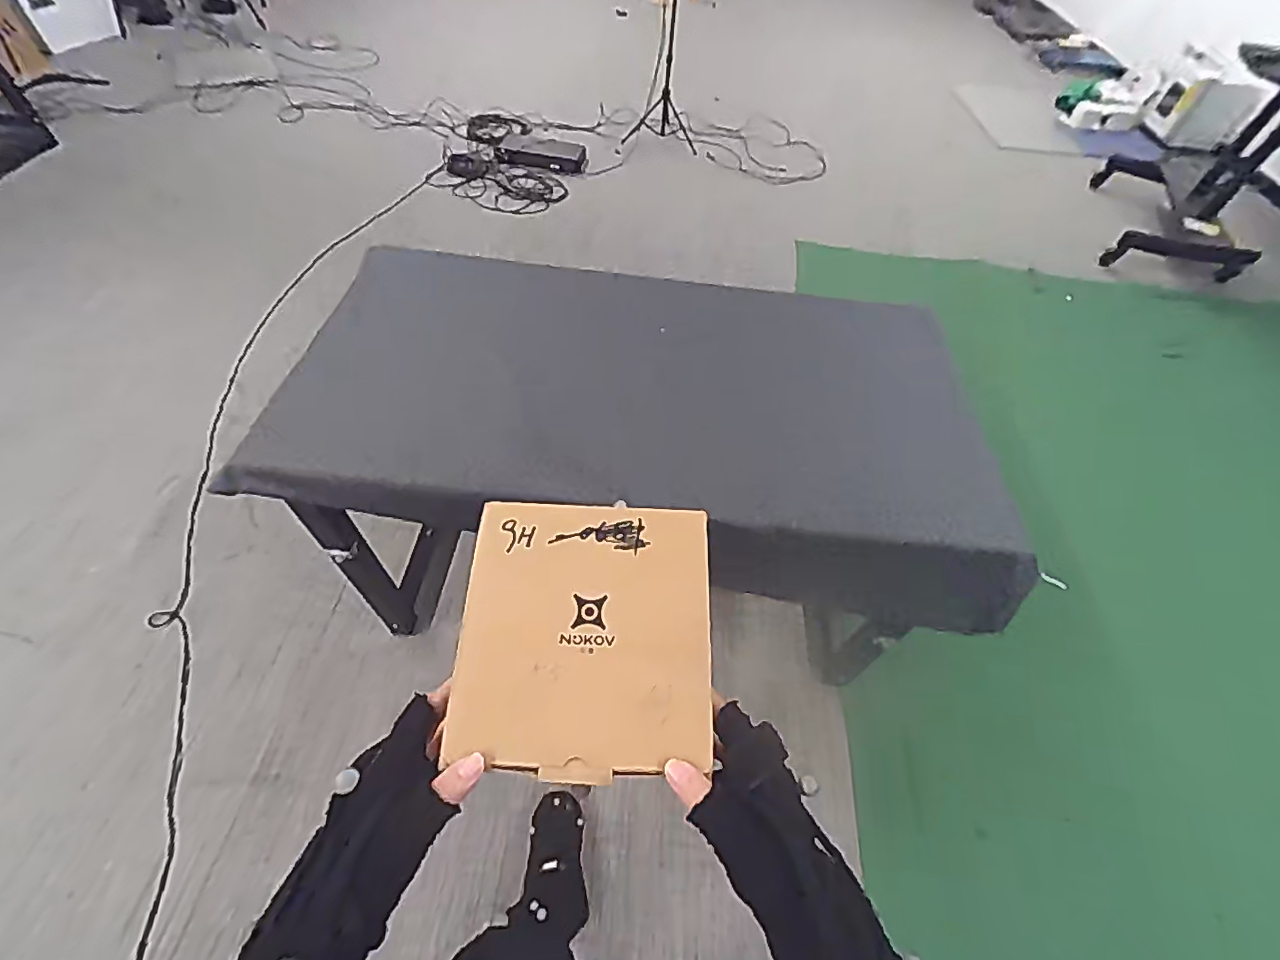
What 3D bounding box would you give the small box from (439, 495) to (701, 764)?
[{"bbox_3d":[-0.042,0.125,0.437,0.168,0.176,0.179,1,64,-1],"label":"small box"}]
